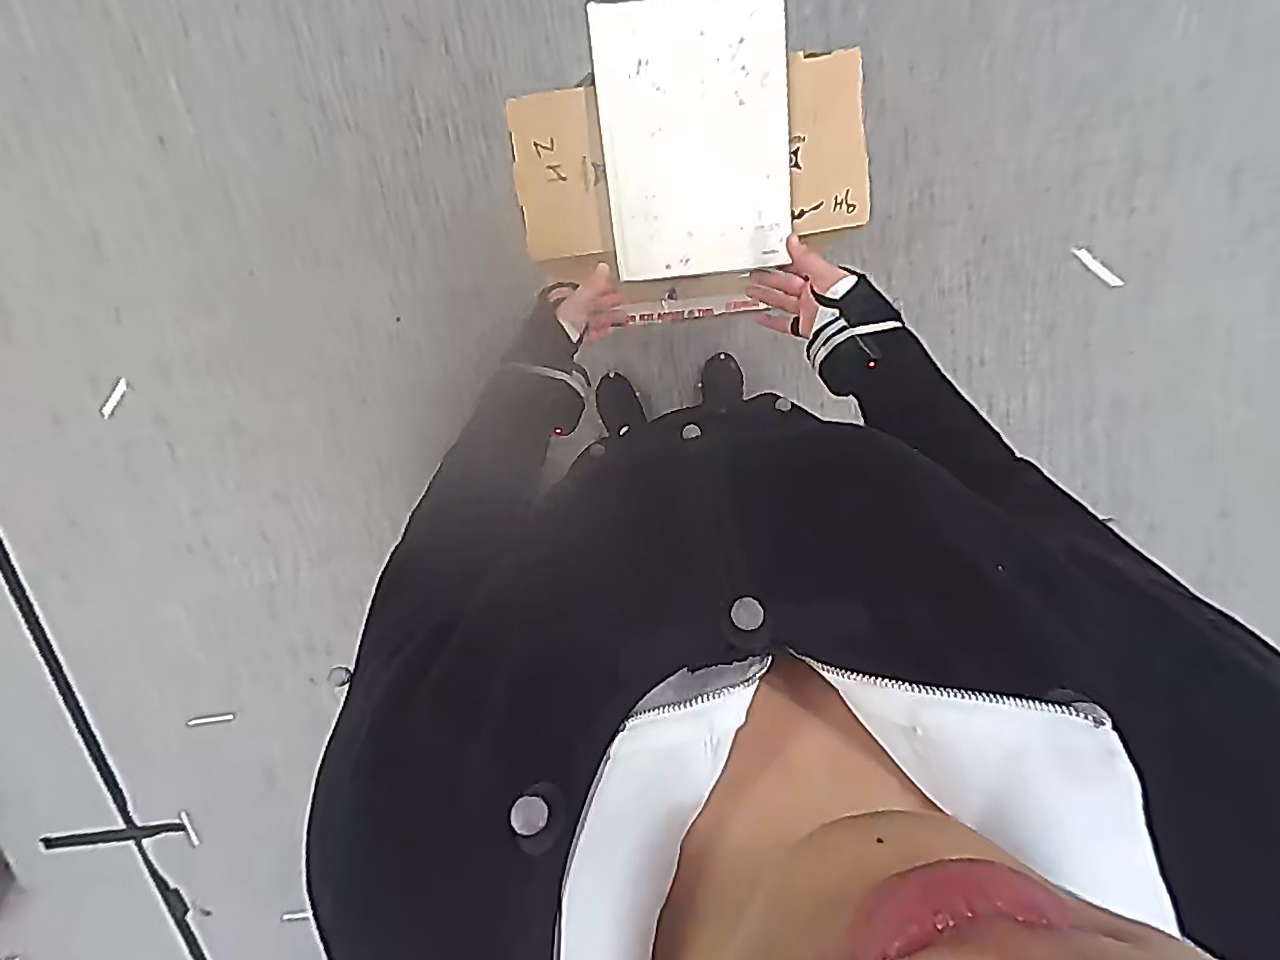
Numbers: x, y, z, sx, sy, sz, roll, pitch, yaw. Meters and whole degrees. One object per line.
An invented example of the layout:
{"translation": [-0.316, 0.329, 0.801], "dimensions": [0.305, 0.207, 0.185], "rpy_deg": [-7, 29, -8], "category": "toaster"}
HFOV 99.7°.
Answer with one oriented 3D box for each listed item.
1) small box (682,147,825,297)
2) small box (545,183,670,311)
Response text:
{"translation": [0.169, -0.389, 0.845], "dimensions": [0.179, 0.176, 0.168], "rpy_deg": [-10, 104, 3], "category": "small box"}
{"translation": [-0.044, -0.358, 0.855], "dimensions": [0.179, 0.176, 0.168], "rpy_deg": [-2, 105, 3], "category": "small box"}
